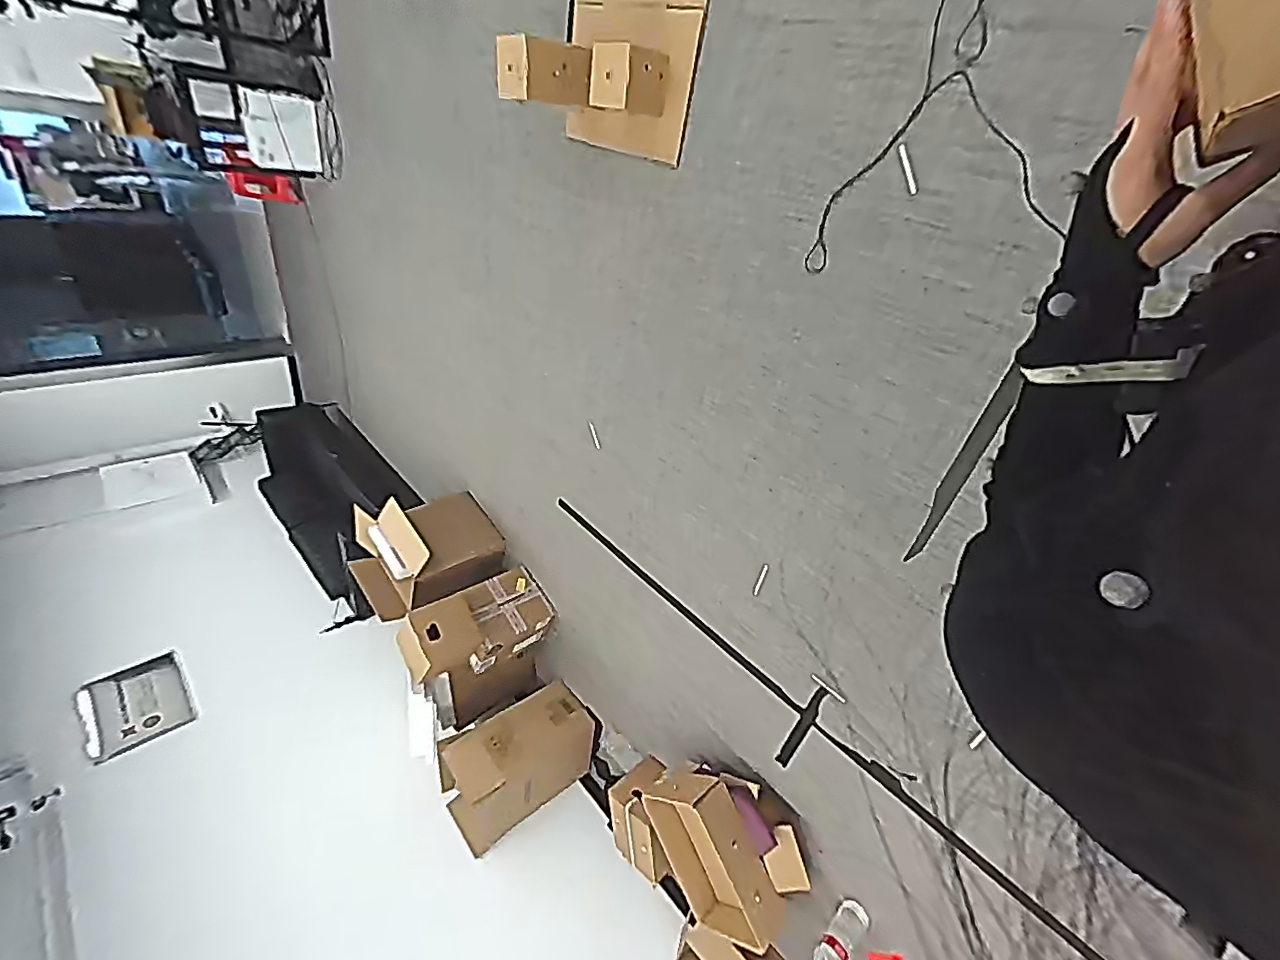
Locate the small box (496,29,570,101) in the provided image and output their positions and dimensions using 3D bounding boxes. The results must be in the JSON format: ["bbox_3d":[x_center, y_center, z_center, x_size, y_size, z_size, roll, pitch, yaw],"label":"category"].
[{"bbox_3d":[-0.349,-1.346,1.762,0.179,0.176,0.168,32,130,36],"label":"small box"}]

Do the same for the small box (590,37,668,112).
[{"bbox_3d":[-0.034,-1.272,1.700,0.179,0.176,0.168,35,130,35],"label":"small box"}]

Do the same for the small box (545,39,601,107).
[{"bbox_3d":[-0.228,-1.397,1.862,0.179,0.176,0.168,30,127,37],"label":"small box"}]
